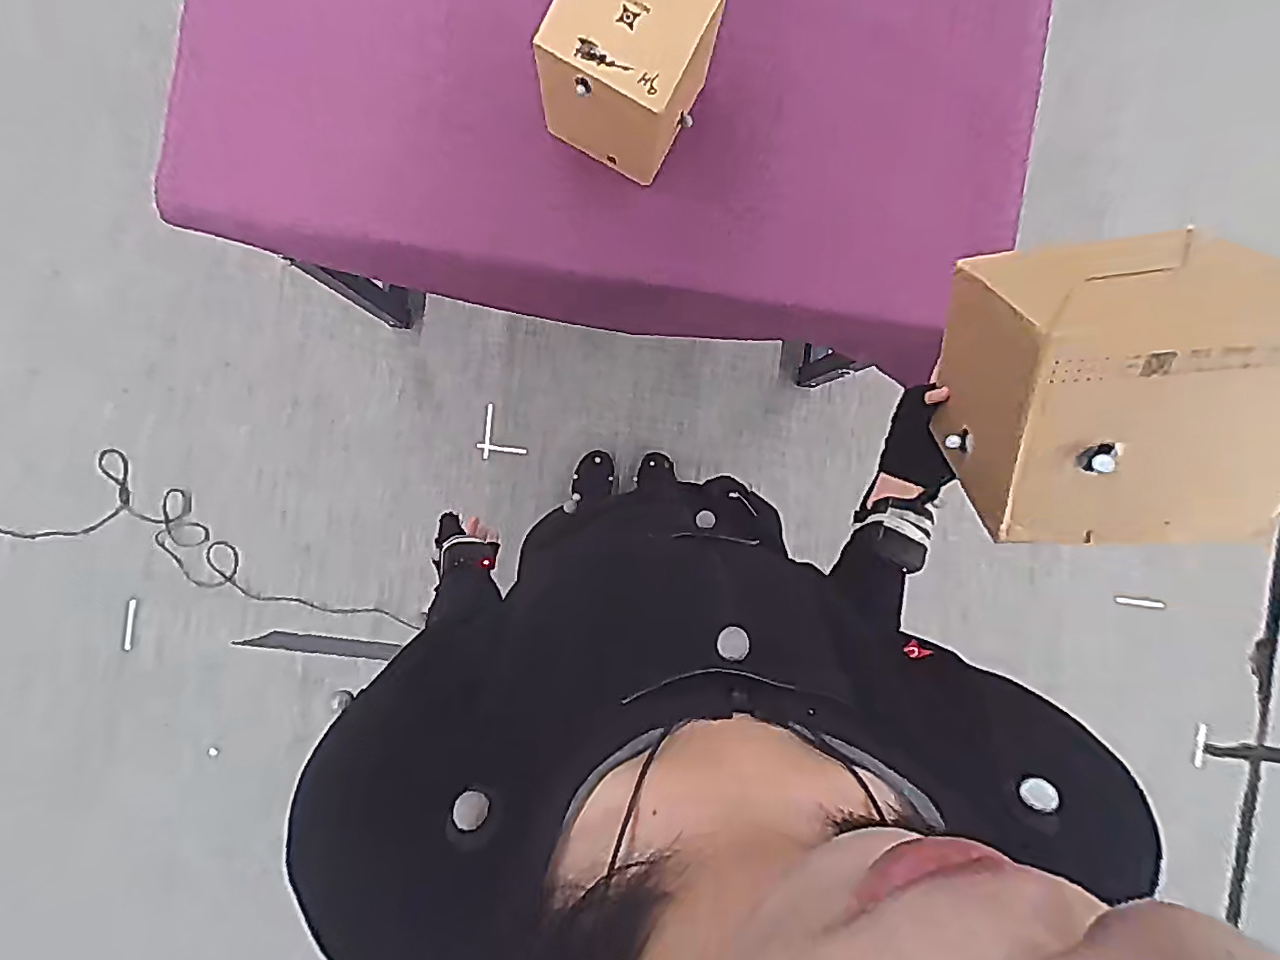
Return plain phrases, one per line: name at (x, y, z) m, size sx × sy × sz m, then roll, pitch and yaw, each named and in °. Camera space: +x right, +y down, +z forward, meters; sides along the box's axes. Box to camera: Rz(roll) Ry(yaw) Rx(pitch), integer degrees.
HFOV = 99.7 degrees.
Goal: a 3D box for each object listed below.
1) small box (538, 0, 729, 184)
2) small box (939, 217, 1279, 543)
small box at (-0.012, -0.527, 0.687) m, size 0.168 × 0.176 × 0.179 m, roll 28°, pitch 89°, yaw -4°
small box at (0.339, -0.075, 0.393) m, size 0.168 × 0.179 × 0.176 m, roll -3°, pitch 125°, yaw 13°
